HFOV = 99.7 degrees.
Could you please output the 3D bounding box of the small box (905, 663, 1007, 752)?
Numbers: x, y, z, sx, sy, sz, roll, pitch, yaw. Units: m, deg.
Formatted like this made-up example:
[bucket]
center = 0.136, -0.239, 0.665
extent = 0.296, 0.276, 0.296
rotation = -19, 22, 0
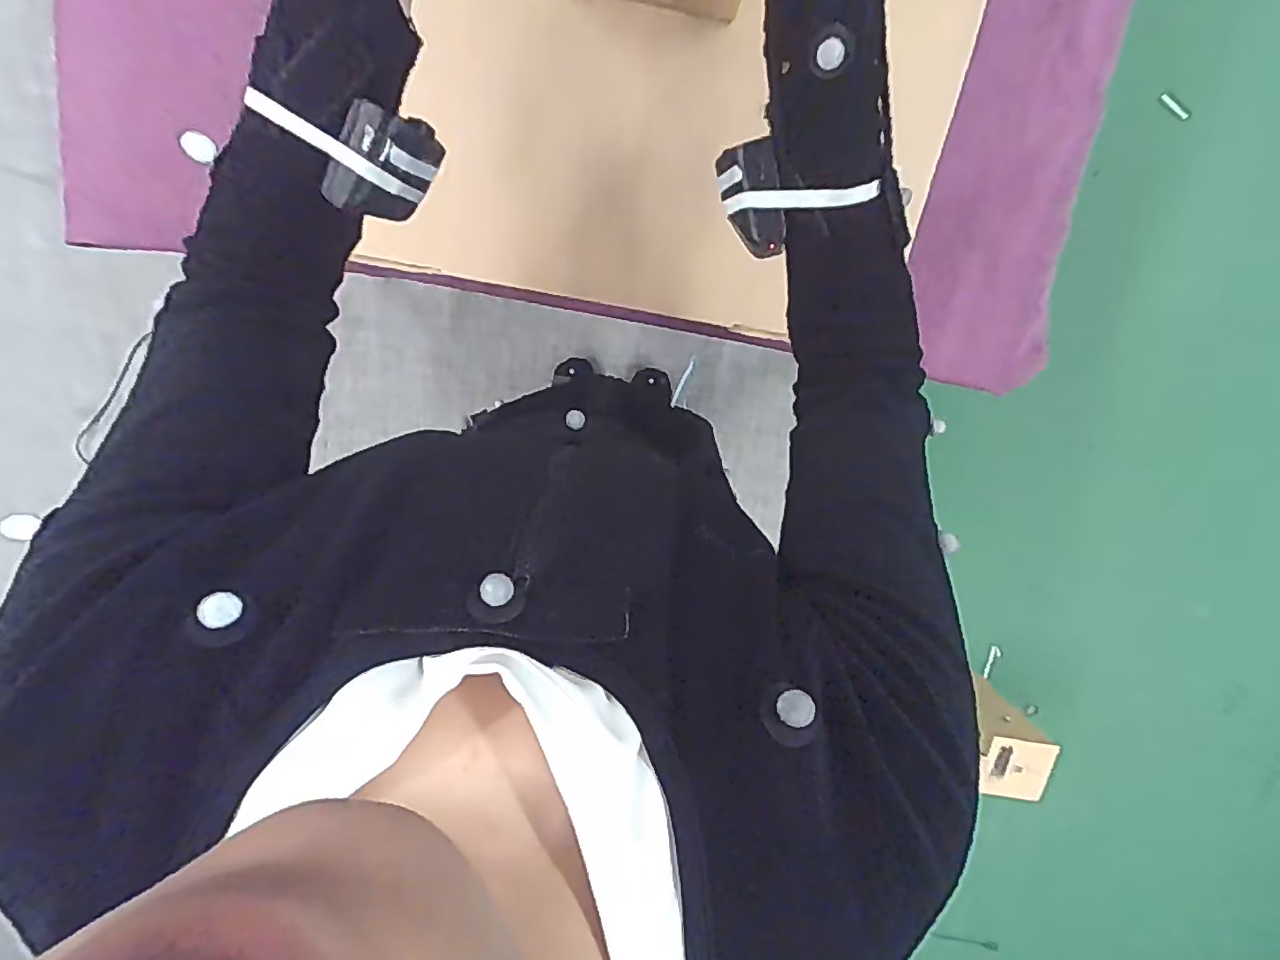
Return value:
[small box]
center = 0.912, 0.657, 1.578
extent = 0.179, 0.176, 0.168
rotation = 10, 103, -4
